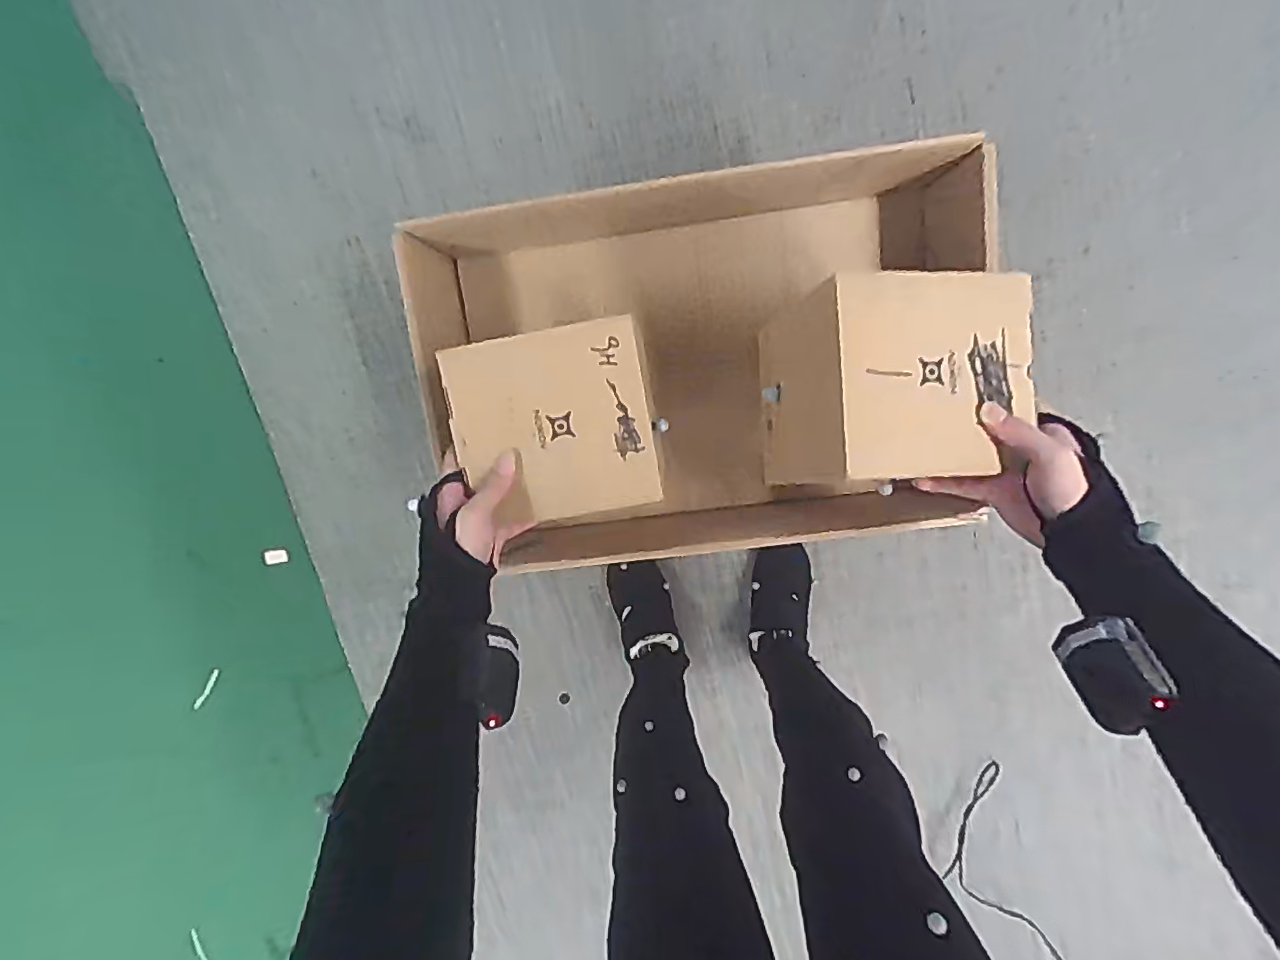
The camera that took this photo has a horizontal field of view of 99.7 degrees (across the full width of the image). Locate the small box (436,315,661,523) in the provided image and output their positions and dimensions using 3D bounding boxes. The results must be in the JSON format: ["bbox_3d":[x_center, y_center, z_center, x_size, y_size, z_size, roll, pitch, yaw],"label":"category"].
[{"bbox_3d":[-0.078,-0.063,0.559,0.179,0.176,0.168,-9,100,5],"label":"small box"}]

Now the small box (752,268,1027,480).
[{"bbox_3d":[0.221,-0.086,0.515,0.179,0.176,0.168,-2,88,-8],"label":"small box"}]
